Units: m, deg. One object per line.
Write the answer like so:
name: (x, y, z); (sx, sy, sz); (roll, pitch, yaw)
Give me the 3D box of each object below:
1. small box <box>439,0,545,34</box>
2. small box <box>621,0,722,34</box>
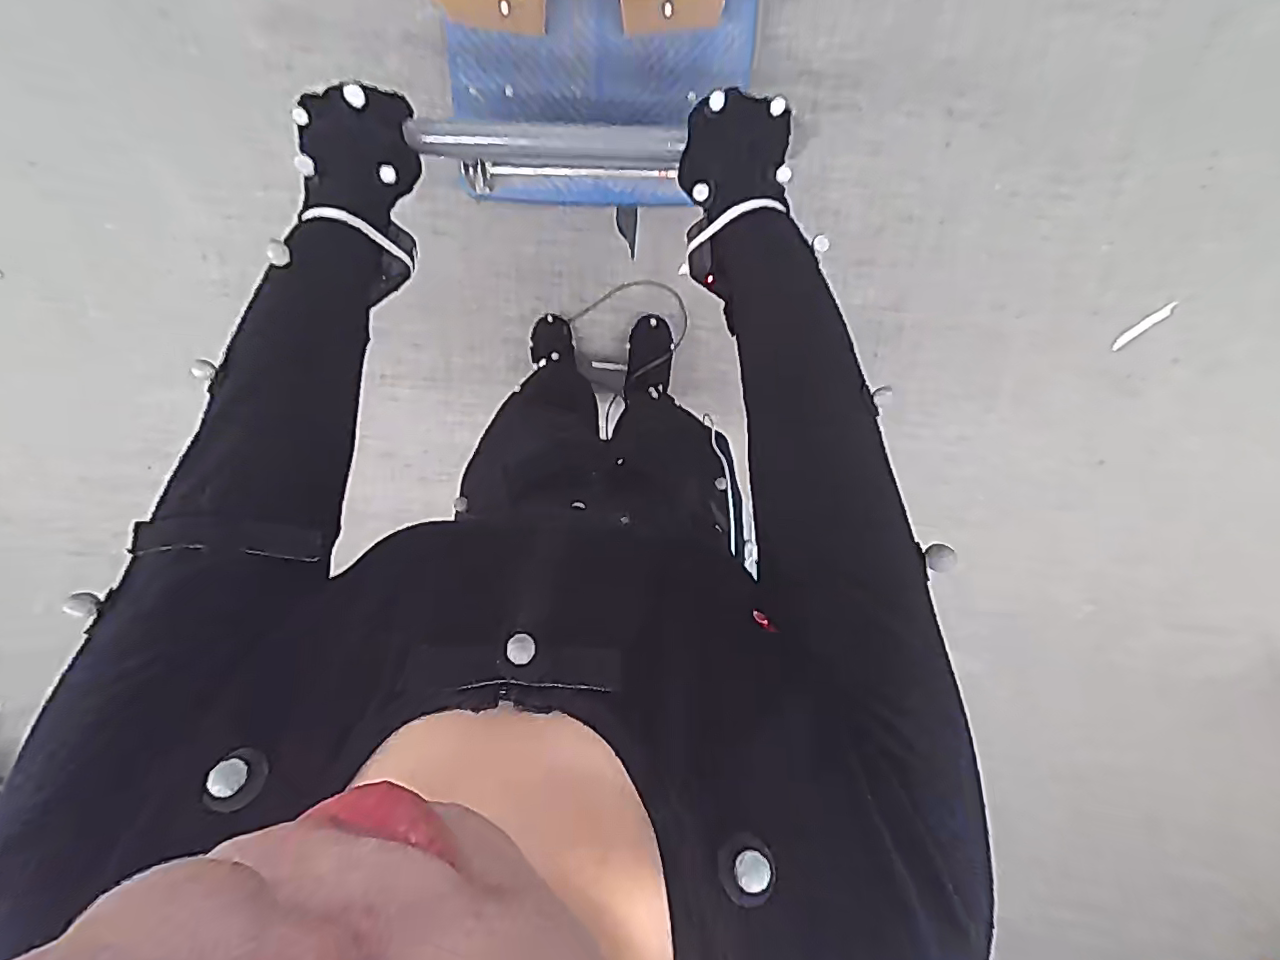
small box: (-0.257, -0.886, 0.905); (0.179, 0.176, 0.168); (6, 111, -3)
small box: (0.050, -0.878, 0.901); (0.179, 0.176, 0.168); (-3, 112, 3)
